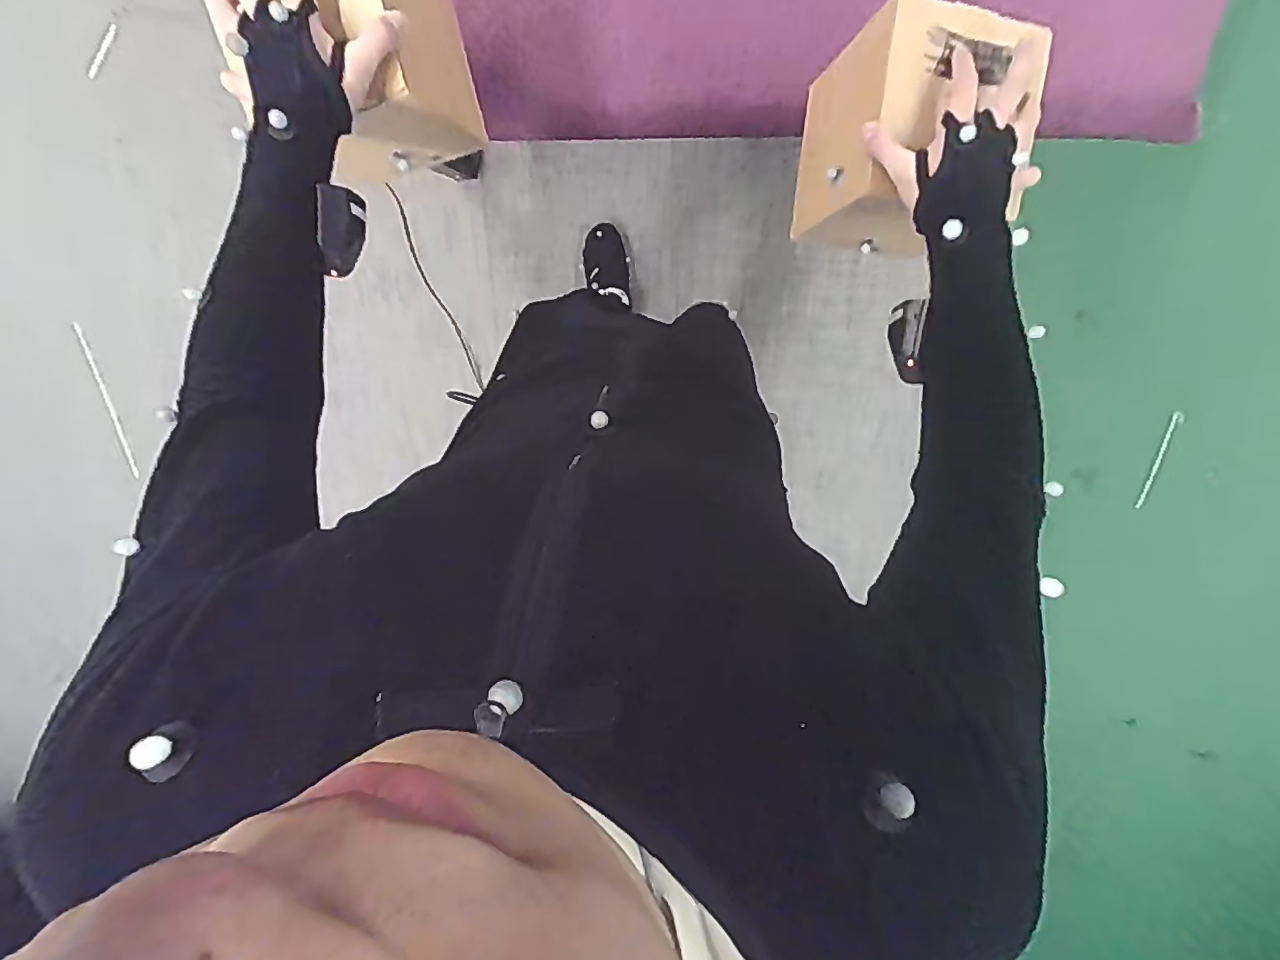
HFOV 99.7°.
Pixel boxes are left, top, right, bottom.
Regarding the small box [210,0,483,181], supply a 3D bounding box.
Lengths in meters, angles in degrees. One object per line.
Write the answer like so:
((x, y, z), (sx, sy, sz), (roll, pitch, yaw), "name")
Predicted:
((-0.286, -0.435, 0.550), (0.168, 0.176, 0.179), (-9, 105, 13), "small box")

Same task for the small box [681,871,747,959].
((0.208, 1.283, 1.572), (0.168, 0.176, 0.179), (4, 113, 0), "small box")

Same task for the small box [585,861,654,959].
((-0.054, 1.231, 1.554), (0.168, 0.176, 0.179), (-9, 112, 6), "small box")
